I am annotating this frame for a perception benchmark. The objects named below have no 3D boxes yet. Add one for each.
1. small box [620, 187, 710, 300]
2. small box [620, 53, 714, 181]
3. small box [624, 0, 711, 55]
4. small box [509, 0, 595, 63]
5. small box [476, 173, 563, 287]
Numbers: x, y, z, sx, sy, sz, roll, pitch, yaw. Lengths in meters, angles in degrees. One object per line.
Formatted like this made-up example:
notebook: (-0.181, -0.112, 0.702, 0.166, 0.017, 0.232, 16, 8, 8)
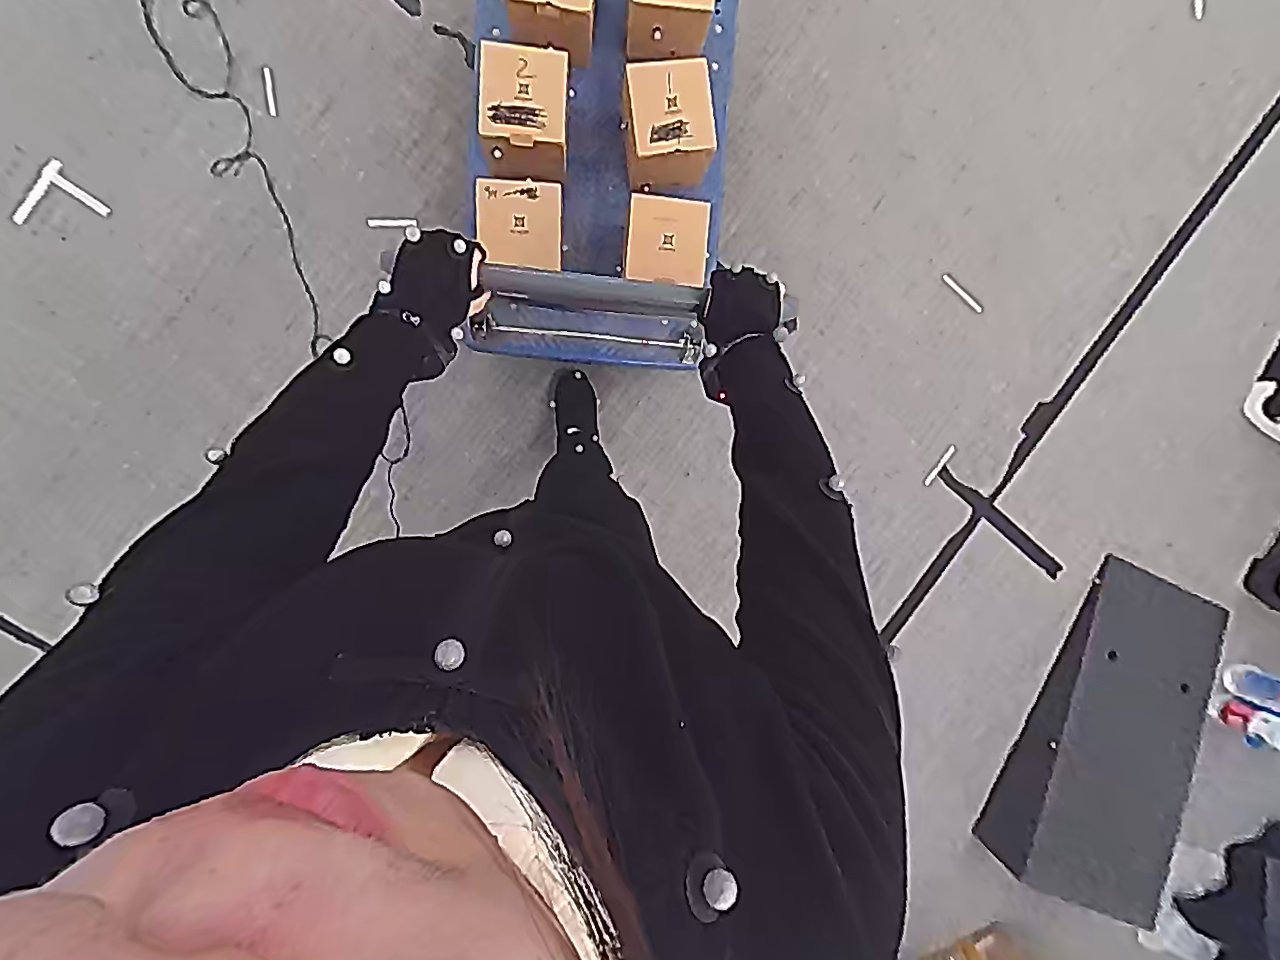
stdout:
small box: (0.047, -0.505, 1.182, 0.168, 0.176, 0.179, 4, 94, -7)
small box: (0.053, -0.761, 1.156, 0.168, 0.176, 0.179, -8, 96, -6)
small box: (0.056, -1.033, 1.130, 0.168, 0.176, 0.179, 1, 96, -6)
small box: (-0.177, -1.010, 1.103, 0.168, 0.176, 0.179, 5, 96, -7)
small box: (-0.249, -0.518, 1.144, 0.168, 0.176, 0.179, 0, 96, -8)
